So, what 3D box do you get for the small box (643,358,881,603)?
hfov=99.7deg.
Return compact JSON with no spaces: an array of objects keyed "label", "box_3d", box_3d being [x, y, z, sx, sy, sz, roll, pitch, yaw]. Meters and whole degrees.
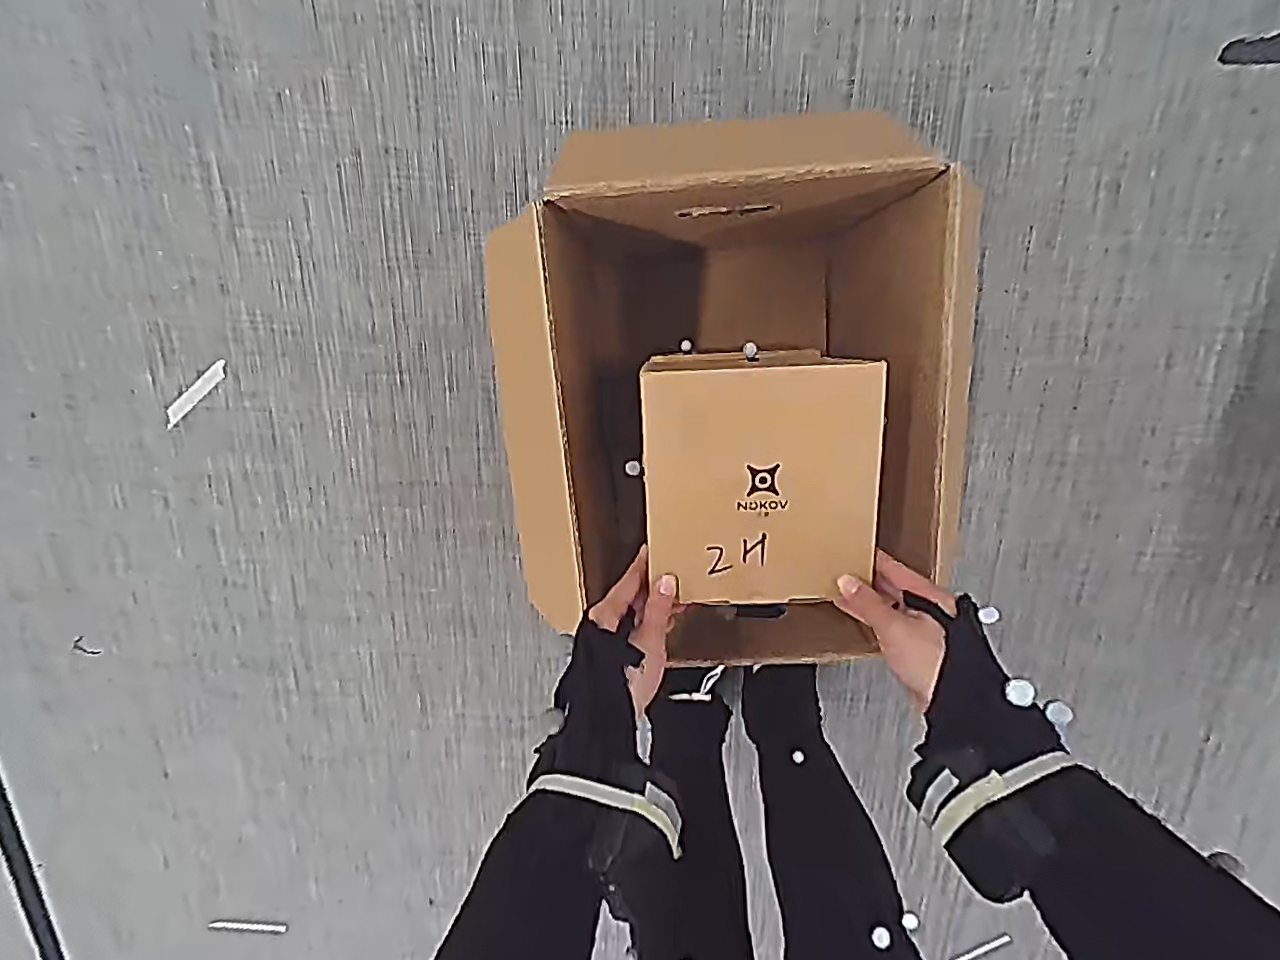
[{"label":"small box","box_3d":[0.086,-0.012,0.462,0.168,0.176,0.179,-2,104,2]}]
